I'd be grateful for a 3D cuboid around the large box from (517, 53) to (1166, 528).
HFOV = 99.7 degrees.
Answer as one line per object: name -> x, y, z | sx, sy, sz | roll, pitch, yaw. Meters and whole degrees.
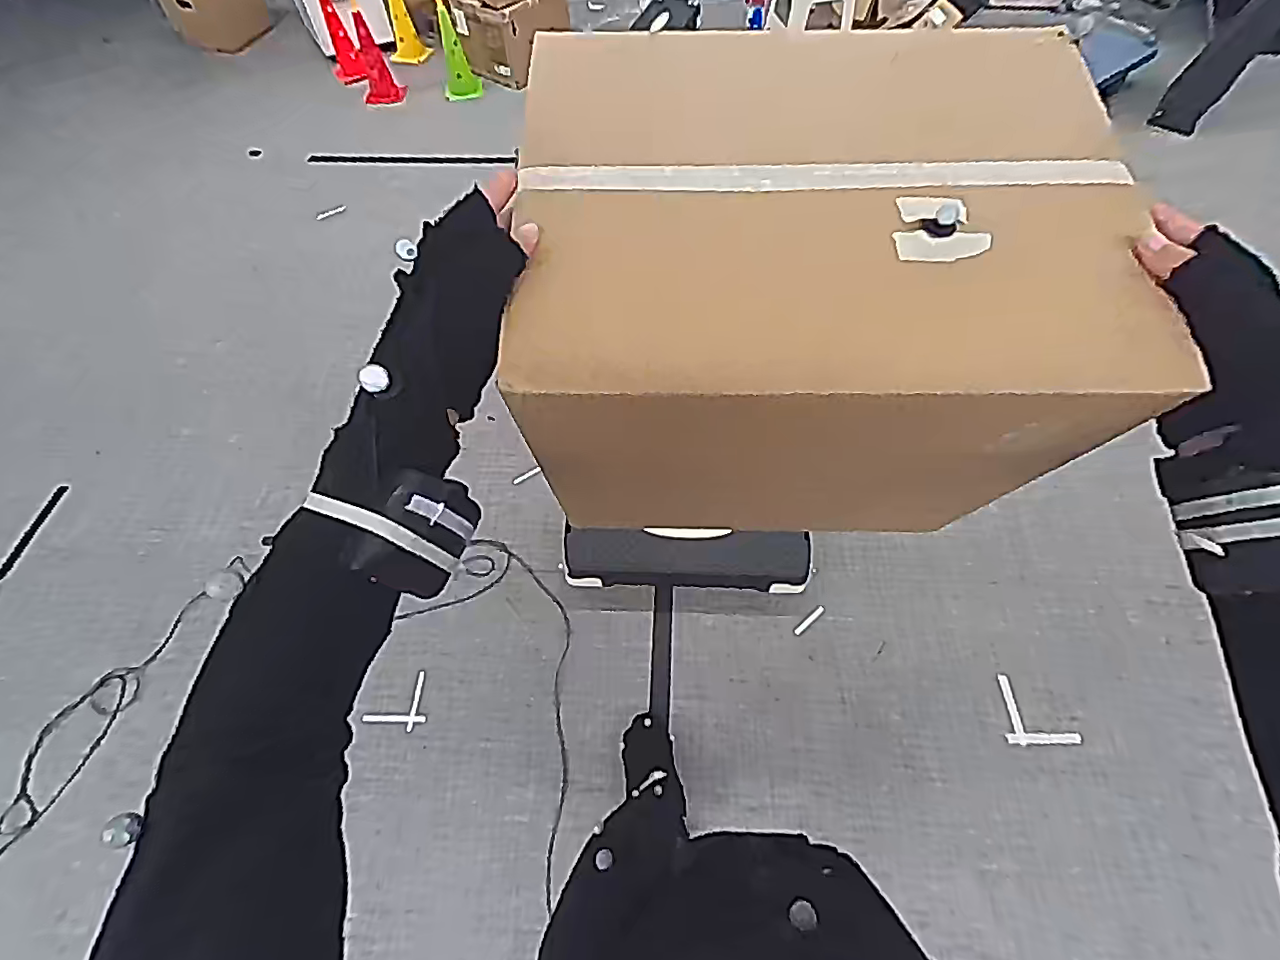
large box -> 0.119, -0.144, 0.516 | 0.408, 0.320, 0.320 | 0, 70, 0
